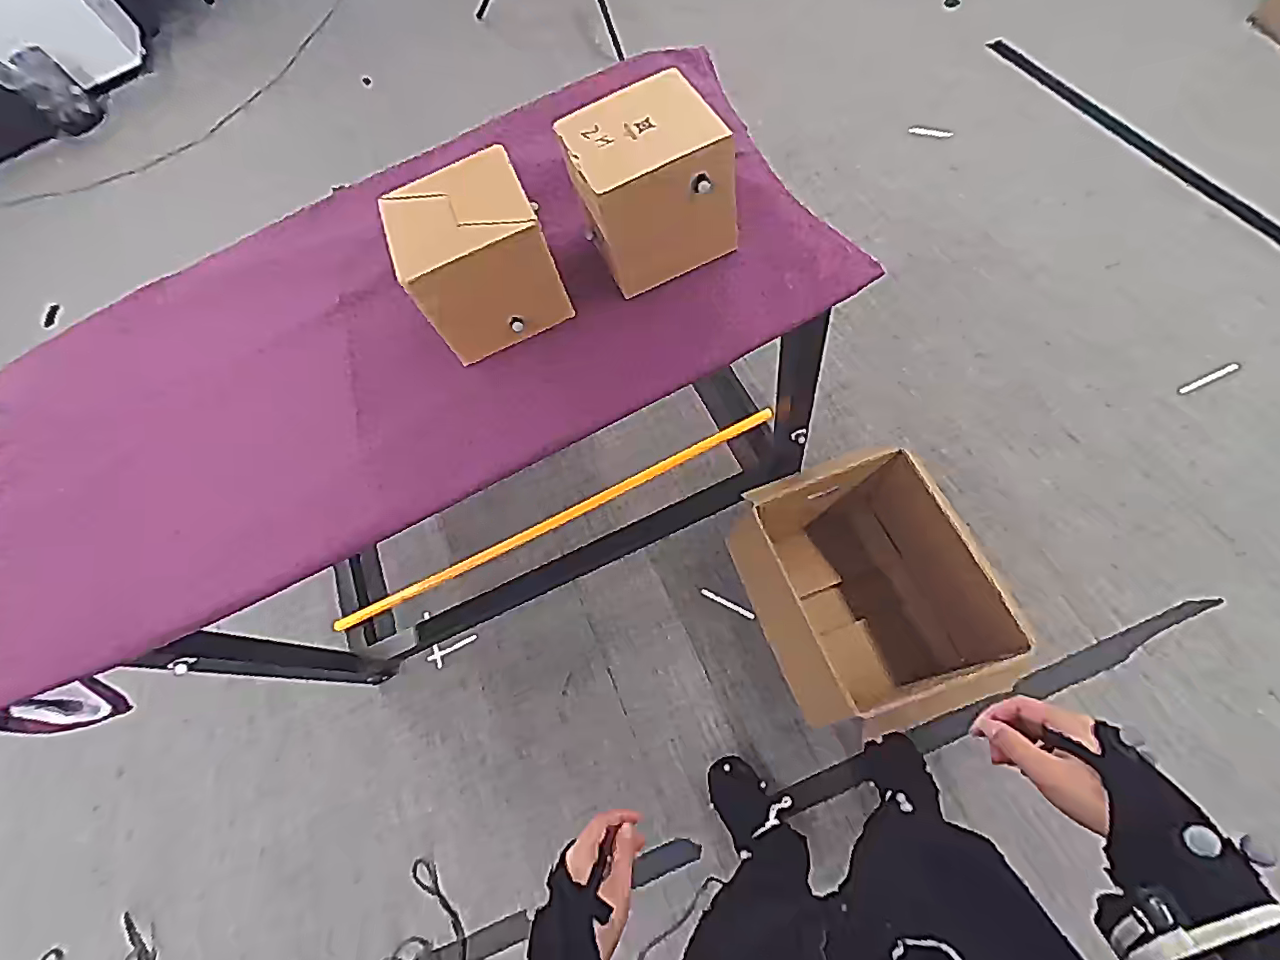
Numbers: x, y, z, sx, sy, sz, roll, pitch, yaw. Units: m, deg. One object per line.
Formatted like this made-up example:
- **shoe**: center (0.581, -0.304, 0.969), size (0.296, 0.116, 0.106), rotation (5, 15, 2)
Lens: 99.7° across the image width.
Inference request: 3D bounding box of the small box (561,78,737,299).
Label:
- **small box**: center (0.018, -0.383, 0.729), size (0.179, 0.176, 0.168), rotation (-24, 62, 0)

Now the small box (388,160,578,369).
- **small box**: center (-0.210, -0.290, 0.732), size (0.179, 0.176, 0.168), rotation (-25, 63, 1)
